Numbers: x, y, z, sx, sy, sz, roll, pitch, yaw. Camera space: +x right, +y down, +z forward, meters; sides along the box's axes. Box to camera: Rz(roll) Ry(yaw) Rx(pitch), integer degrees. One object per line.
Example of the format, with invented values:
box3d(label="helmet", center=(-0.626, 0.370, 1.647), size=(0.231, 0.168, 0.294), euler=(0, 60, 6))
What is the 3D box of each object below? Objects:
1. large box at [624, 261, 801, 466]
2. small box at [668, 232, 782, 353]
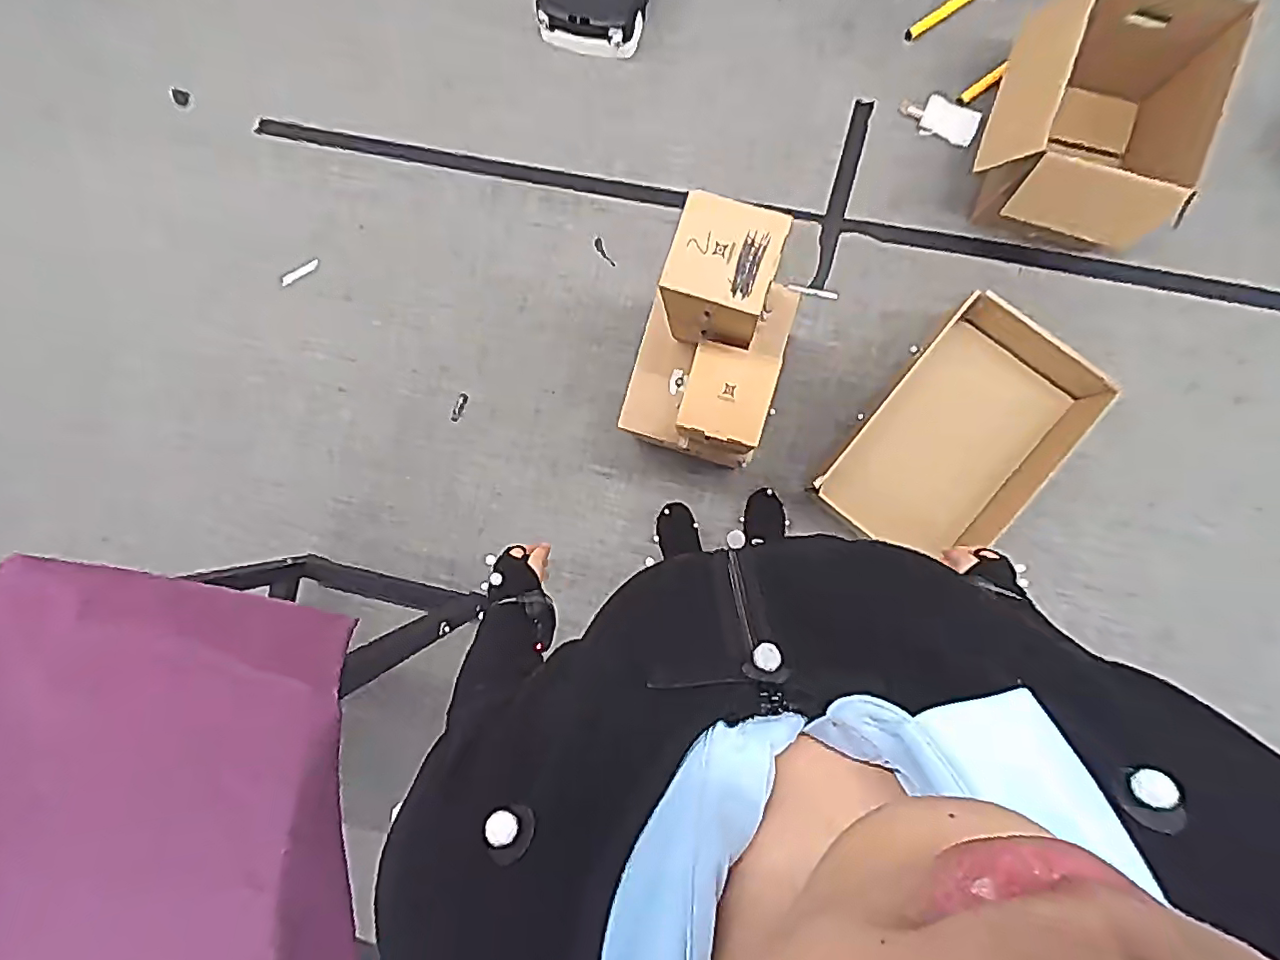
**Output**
box3d(label="large box", center=(0.176, -0.267, 1.353), size=(0.320, 0.320, 0.408), euler=(16, 93, 7))
box3d(label="small box", center=(0.171, -0.372, 1.106), size=(0.179, 0.176, 0.168), euler=(19, 94, 6))
